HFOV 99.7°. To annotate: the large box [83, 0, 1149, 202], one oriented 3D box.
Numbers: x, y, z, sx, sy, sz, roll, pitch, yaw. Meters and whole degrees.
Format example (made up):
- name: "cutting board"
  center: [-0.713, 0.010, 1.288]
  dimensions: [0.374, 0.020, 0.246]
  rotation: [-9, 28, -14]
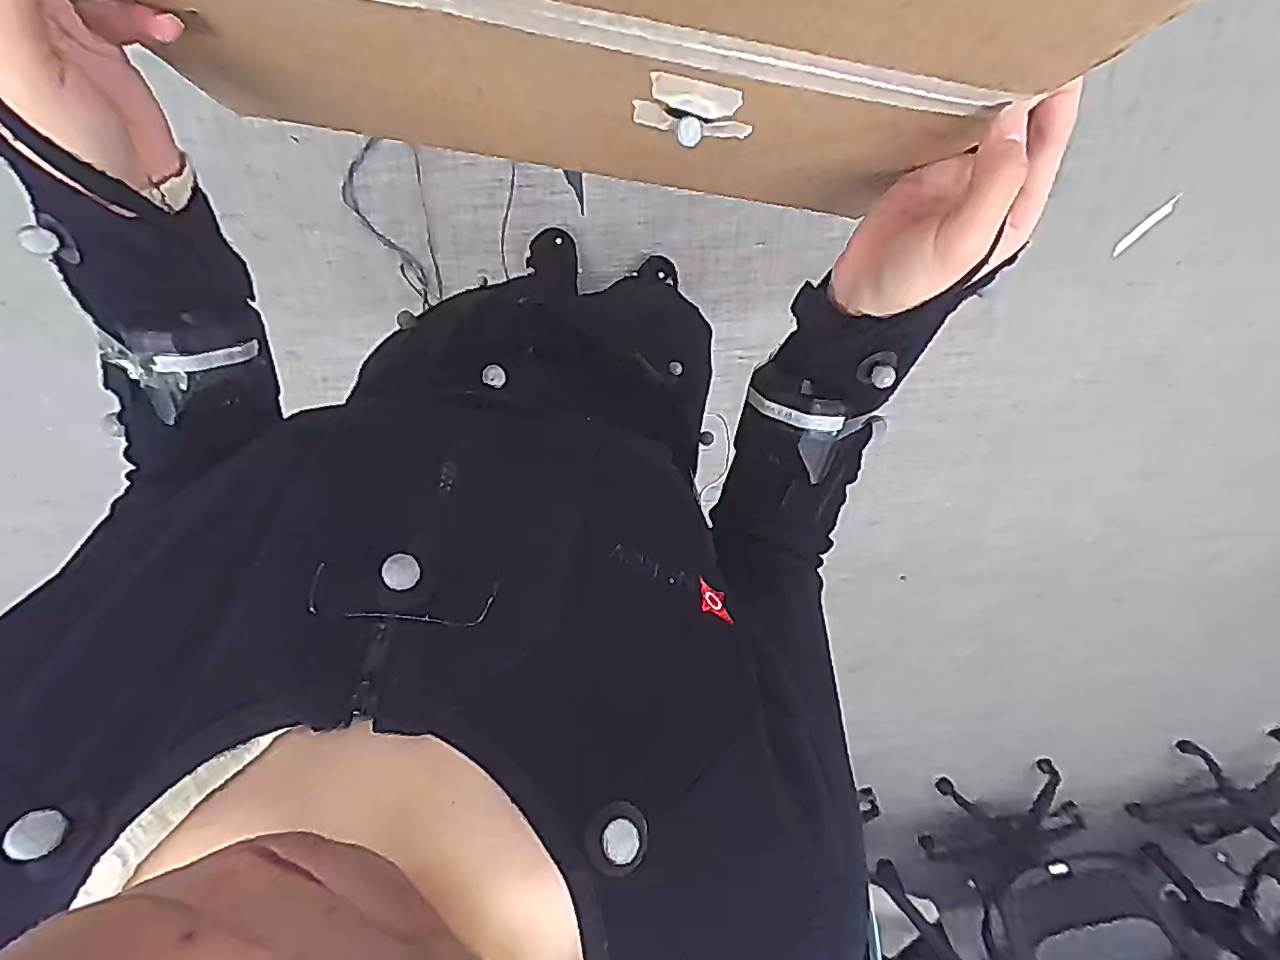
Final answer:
- name: "large box"
  center: [-0.024, -0.331, 0.182]
  dimensions: [0.408, 0.320, 0.320]
  rotation: [5, 101, -5]
